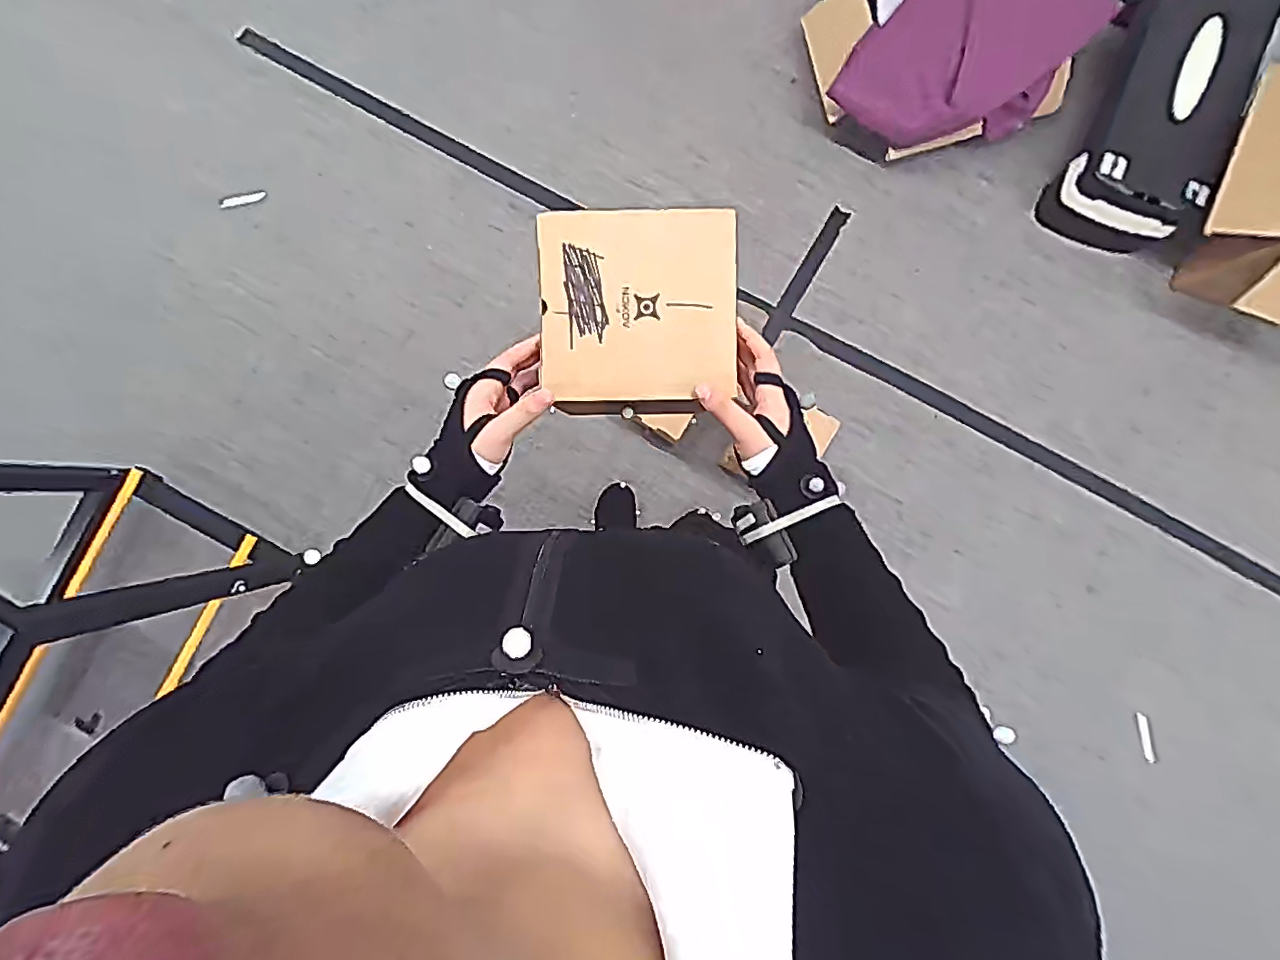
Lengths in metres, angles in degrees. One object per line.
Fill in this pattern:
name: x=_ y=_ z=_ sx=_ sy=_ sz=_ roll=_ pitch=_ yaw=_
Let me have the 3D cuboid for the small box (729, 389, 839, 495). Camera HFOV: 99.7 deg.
small box: x=0.316 y=-0.081 z=1.234 sx=0.168 sy=0.176 sz=0.179 roll=31 pitch=92 yaw=3

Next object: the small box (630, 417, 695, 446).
small box: x=0.068 y=-0.202 z=1.408 sx=0.168 sy=0.176 sz=0.179 roll=32 pitch=91 yaw=3

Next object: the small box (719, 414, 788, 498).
small box: x=0.321 y=-0.068 z=1.396 sx=0.179 sy=0.176 sz=0.168 roll=29 pitch=91 yaw=2

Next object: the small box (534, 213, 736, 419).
small box: x=-0.003 y=-0.150 z=0.547 sx=0.179 sy=0.176 sz=0.168 roll=-1 pitch=93 yaw=0
